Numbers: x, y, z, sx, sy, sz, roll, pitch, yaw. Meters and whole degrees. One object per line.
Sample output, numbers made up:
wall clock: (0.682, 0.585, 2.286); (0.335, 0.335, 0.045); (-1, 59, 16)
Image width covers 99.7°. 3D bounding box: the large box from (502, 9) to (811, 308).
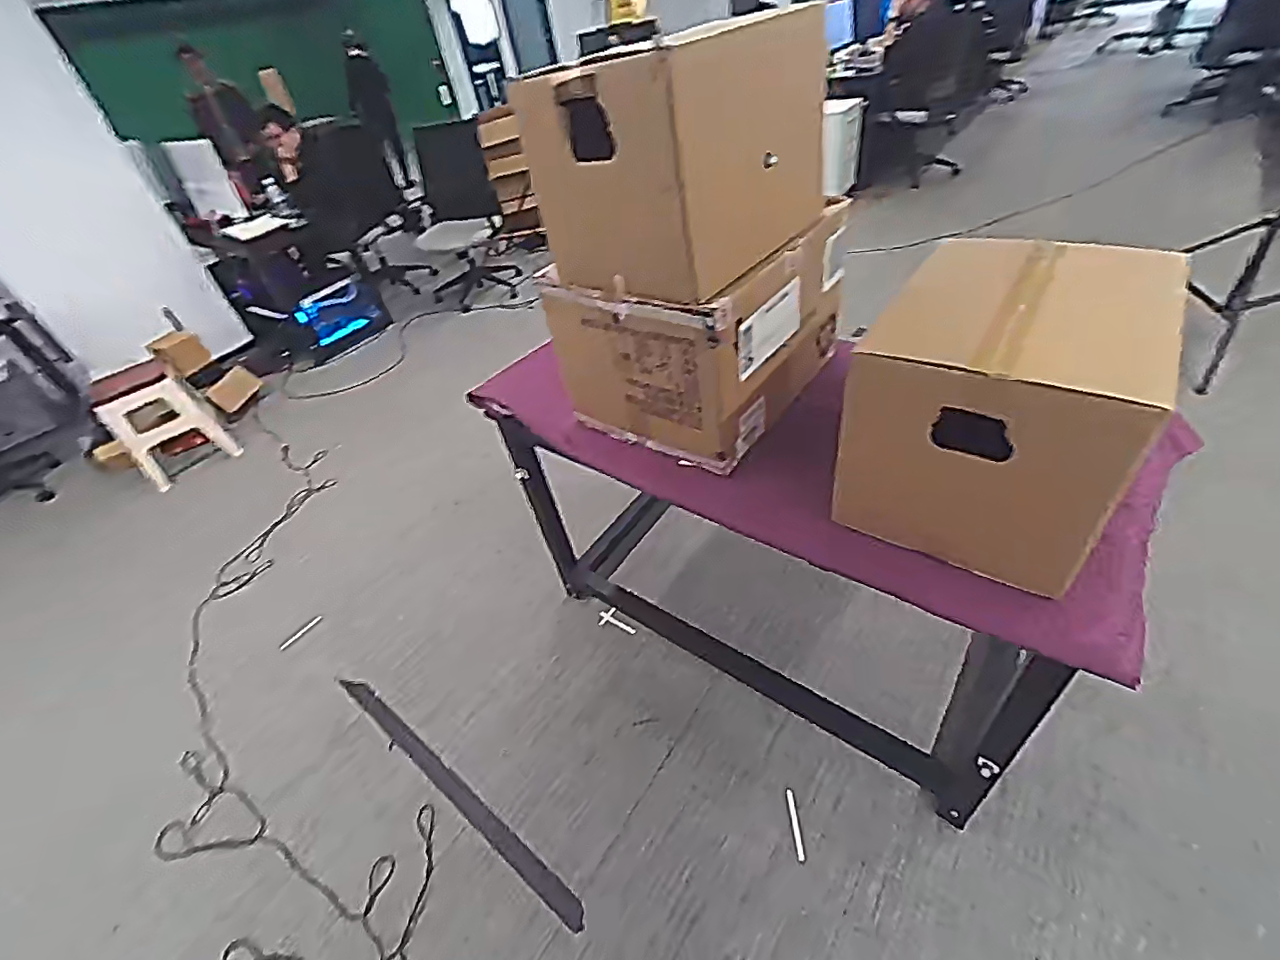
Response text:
large box: (0.059, -0.529, 0.902); (0.320, 0.320, 0.408); (20, 51, 36)
